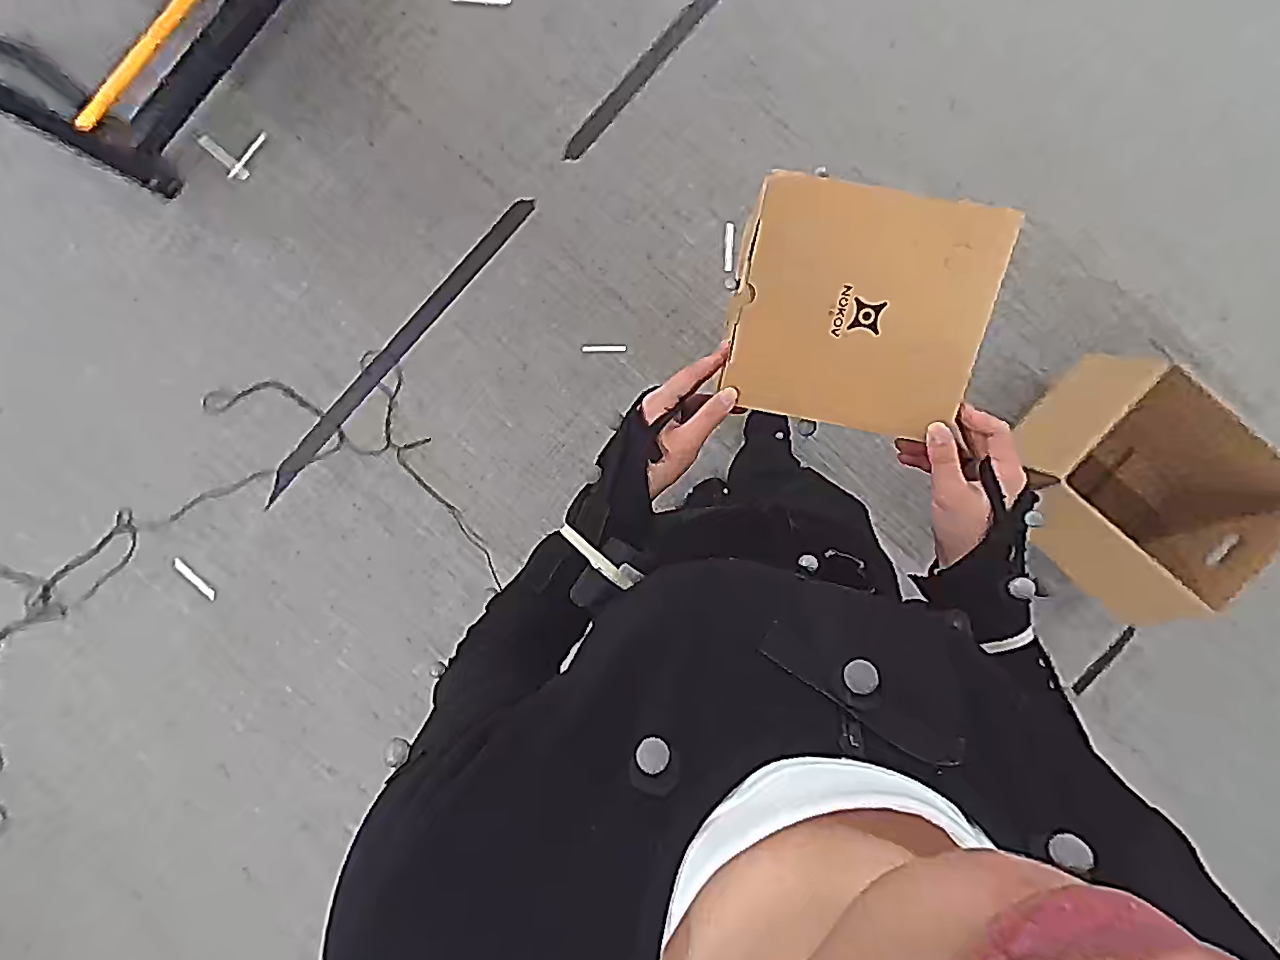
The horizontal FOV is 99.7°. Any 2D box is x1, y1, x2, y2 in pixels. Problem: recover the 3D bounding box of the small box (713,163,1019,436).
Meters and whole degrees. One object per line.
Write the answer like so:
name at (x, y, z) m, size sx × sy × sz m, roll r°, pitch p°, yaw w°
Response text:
small box at (0.164, -0.146, 0.461) m, size 0.179 × 0.176 × 0.168 m, roll 10°, pitch 106°, yaw 4°
